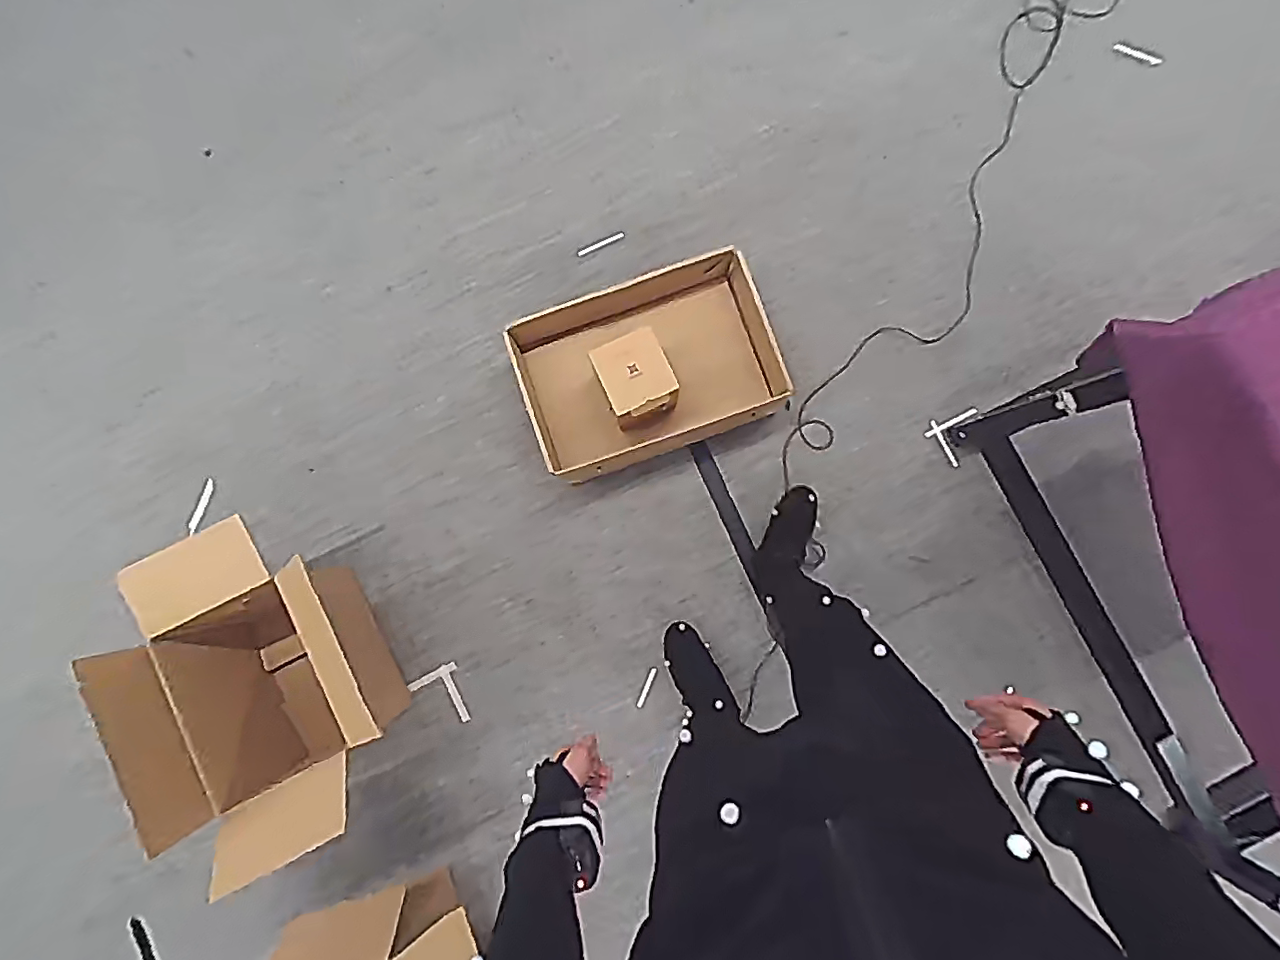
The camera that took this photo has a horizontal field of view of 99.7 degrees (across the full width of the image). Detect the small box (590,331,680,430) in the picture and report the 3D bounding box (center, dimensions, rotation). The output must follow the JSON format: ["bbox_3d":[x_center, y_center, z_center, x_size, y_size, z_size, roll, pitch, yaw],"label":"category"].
[{"bbox_3d":[-0.009,-0.238,1.353,0.168,0.176,0.179,-24,84,-2],"label":"small box"}]
